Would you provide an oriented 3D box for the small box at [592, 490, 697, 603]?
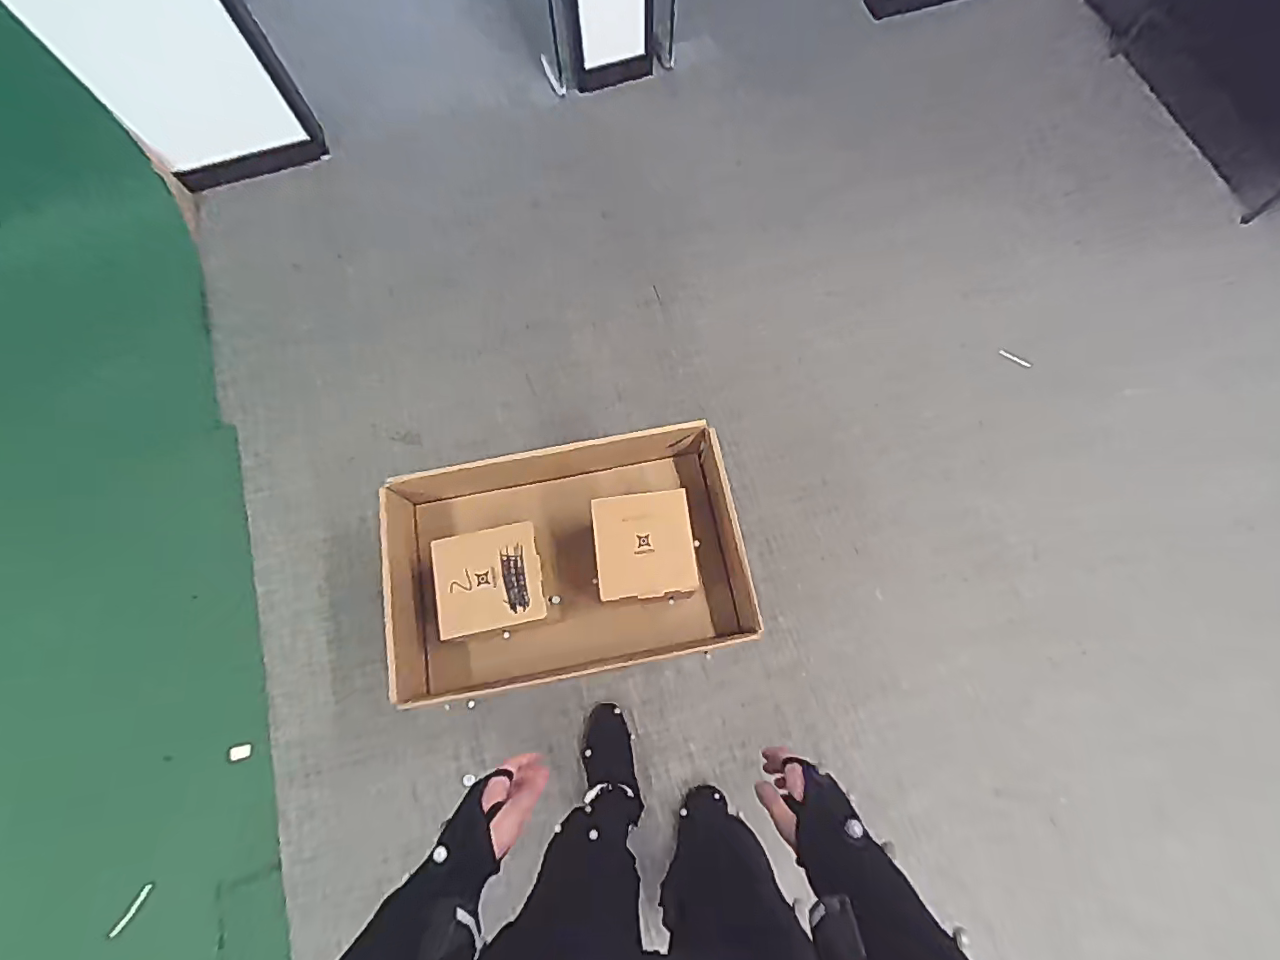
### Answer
[{"bbox_3d":[0.009,0.128,0.985,0.168,0.176,0.179,-7,74,-1],"label":"small box"}]
